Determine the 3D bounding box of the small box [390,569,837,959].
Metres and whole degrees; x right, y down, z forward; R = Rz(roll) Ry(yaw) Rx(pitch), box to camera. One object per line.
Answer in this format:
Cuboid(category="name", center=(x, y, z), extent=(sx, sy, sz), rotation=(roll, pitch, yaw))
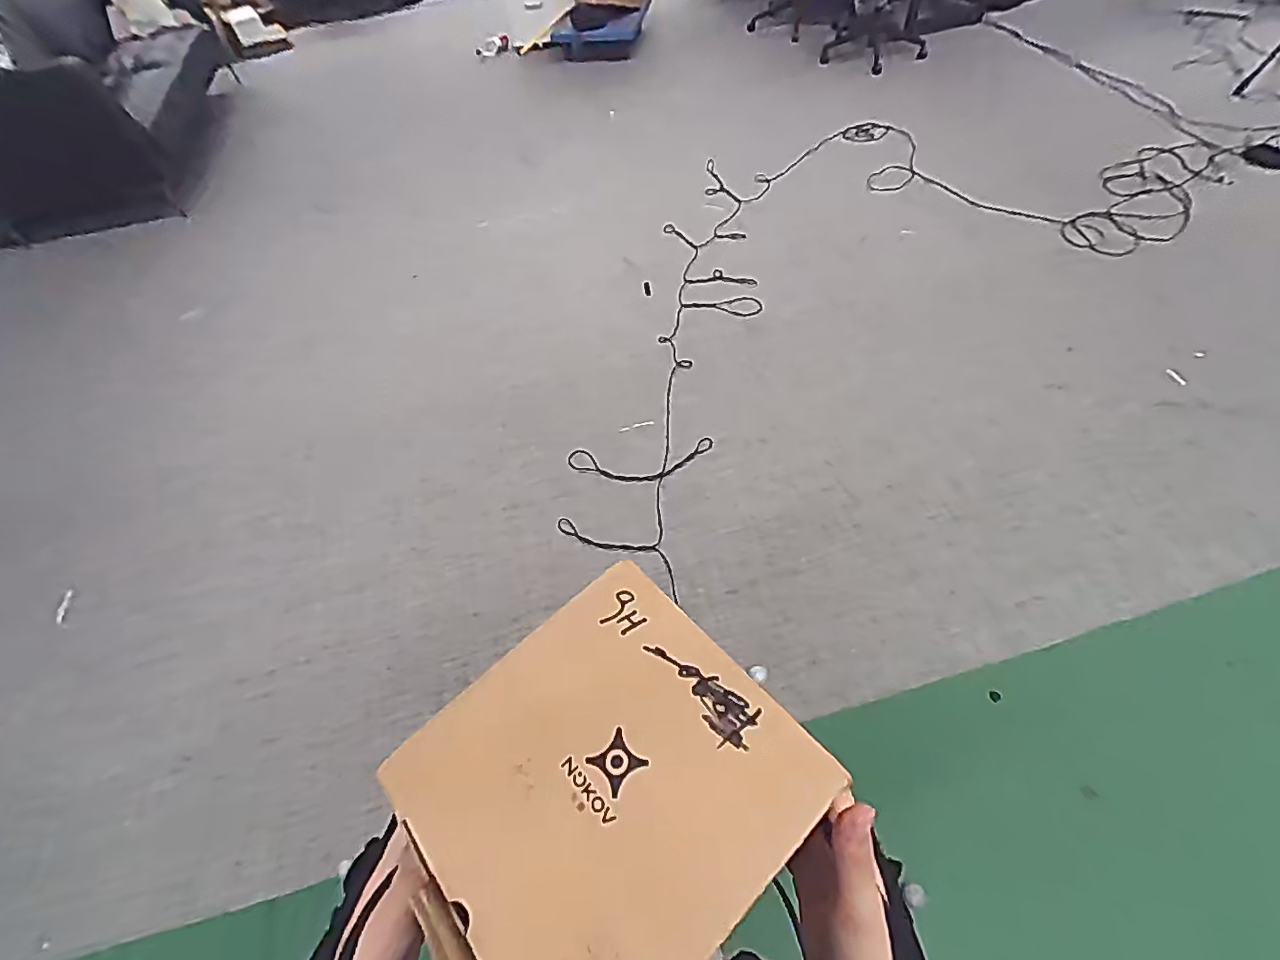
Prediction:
Cuboid(category="small box", center=(-0.008, 0.196, 0.338), extent=(0.179, 0.176, 0.168), rotation=(-39, 59, -18))
